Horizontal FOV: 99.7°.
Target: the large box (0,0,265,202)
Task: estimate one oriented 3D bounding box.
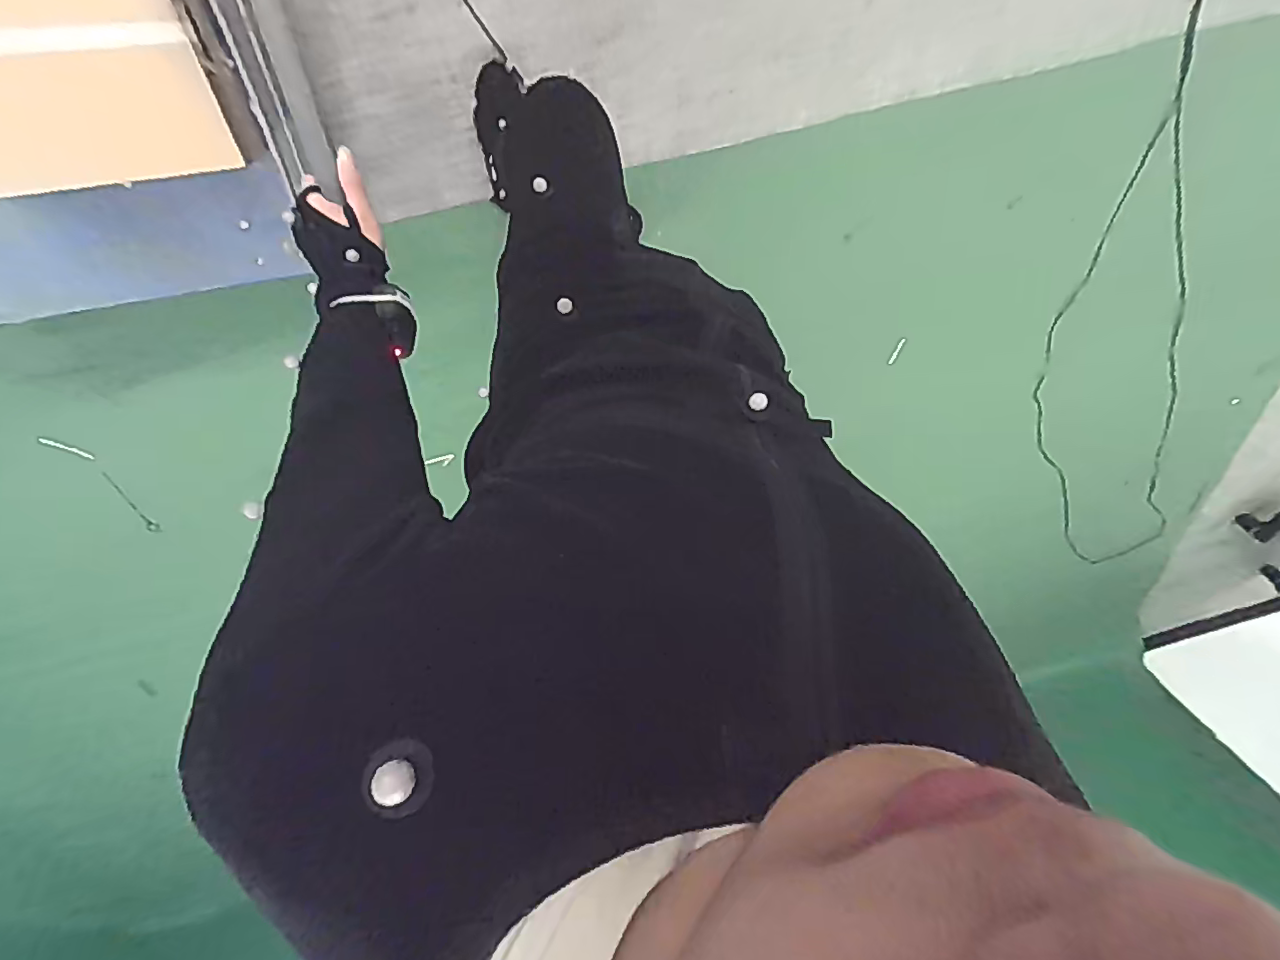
[{"bbox_3d":[-0.841,-0.608,0.772,0.408,0.320,0.320,-19,128,-16],"label":"large box"}]
